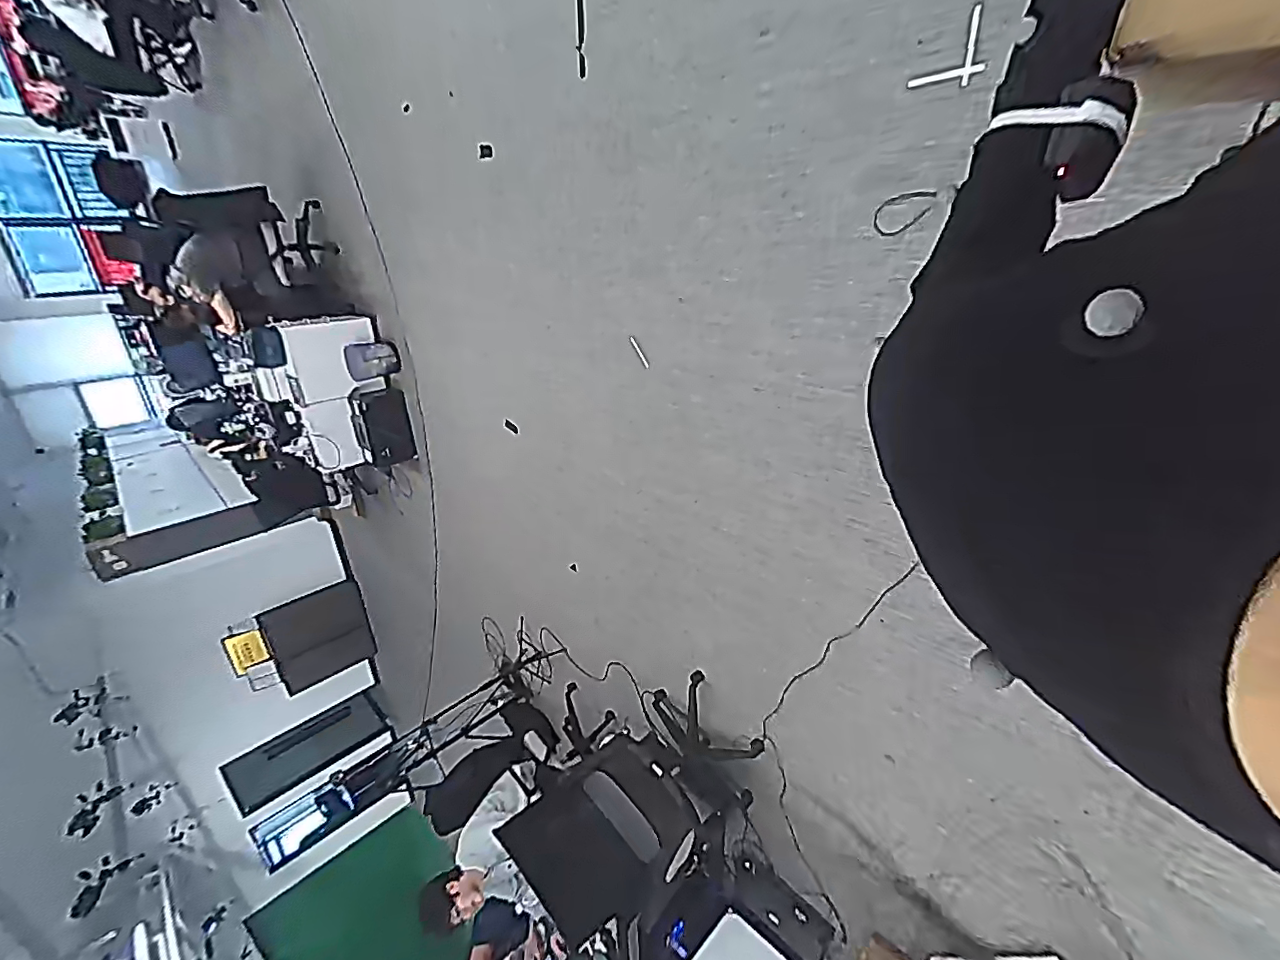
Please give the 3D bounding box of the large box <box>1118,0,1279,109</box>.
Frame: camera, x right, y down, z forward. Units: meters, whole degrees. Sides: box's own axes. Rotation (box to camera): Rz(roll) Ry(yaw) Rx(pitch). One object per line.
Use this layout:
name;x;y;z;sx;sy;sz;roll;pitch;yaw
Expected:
large box;0.589;-0.429;0.304;0.408;0.320;0.320;23;126;37
